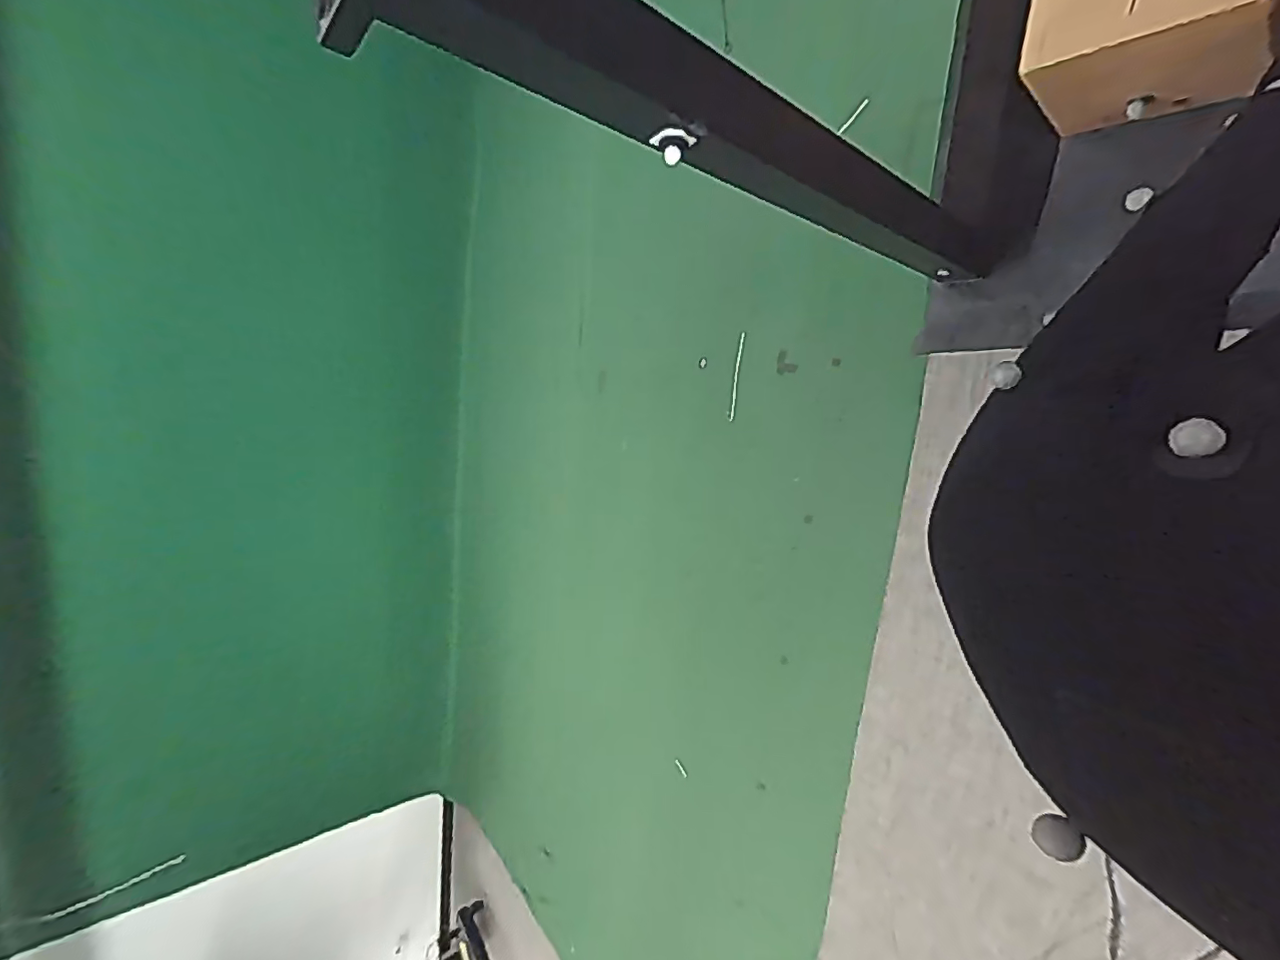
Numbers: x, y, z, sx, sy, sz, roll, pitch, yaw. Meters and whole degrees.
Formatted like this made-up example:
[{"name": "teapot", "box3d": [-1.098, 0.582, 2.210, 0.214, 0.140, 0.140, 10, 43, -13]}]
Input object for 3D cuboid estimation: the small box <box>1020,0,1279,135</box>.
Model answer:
[{"name": "small box", "box3d": [0.494, -0.466, 0.507, 0.168, 0.176, 0.179, 17, 105, 49]}]
